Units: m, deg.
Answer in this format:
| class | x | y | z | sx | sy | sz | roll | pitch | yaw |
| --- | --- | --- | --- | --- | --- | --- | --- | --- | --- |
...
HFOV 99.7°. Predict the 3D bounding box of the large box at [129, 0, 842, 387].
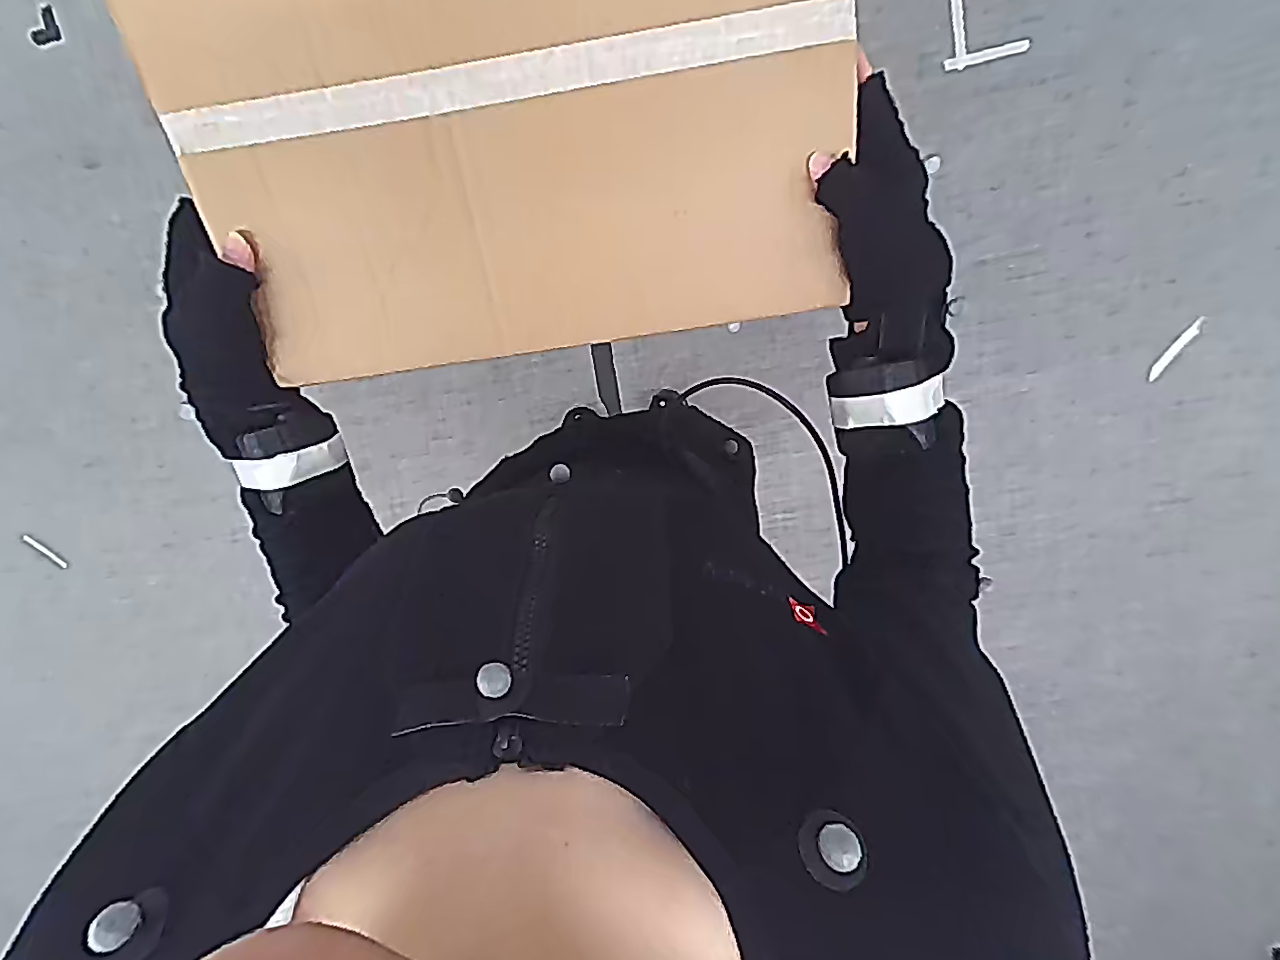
| class | x | y | z | sx | sy | sz | roll | pitch | yaw |
| --- | --- | --- | --- | --- | --- | --- | --- | --- | --- |
| large box | -0.080 | -0.297 | 0.456 | 0.408 | 0.320 | 0.320 | -8 | 114 | 3 |
